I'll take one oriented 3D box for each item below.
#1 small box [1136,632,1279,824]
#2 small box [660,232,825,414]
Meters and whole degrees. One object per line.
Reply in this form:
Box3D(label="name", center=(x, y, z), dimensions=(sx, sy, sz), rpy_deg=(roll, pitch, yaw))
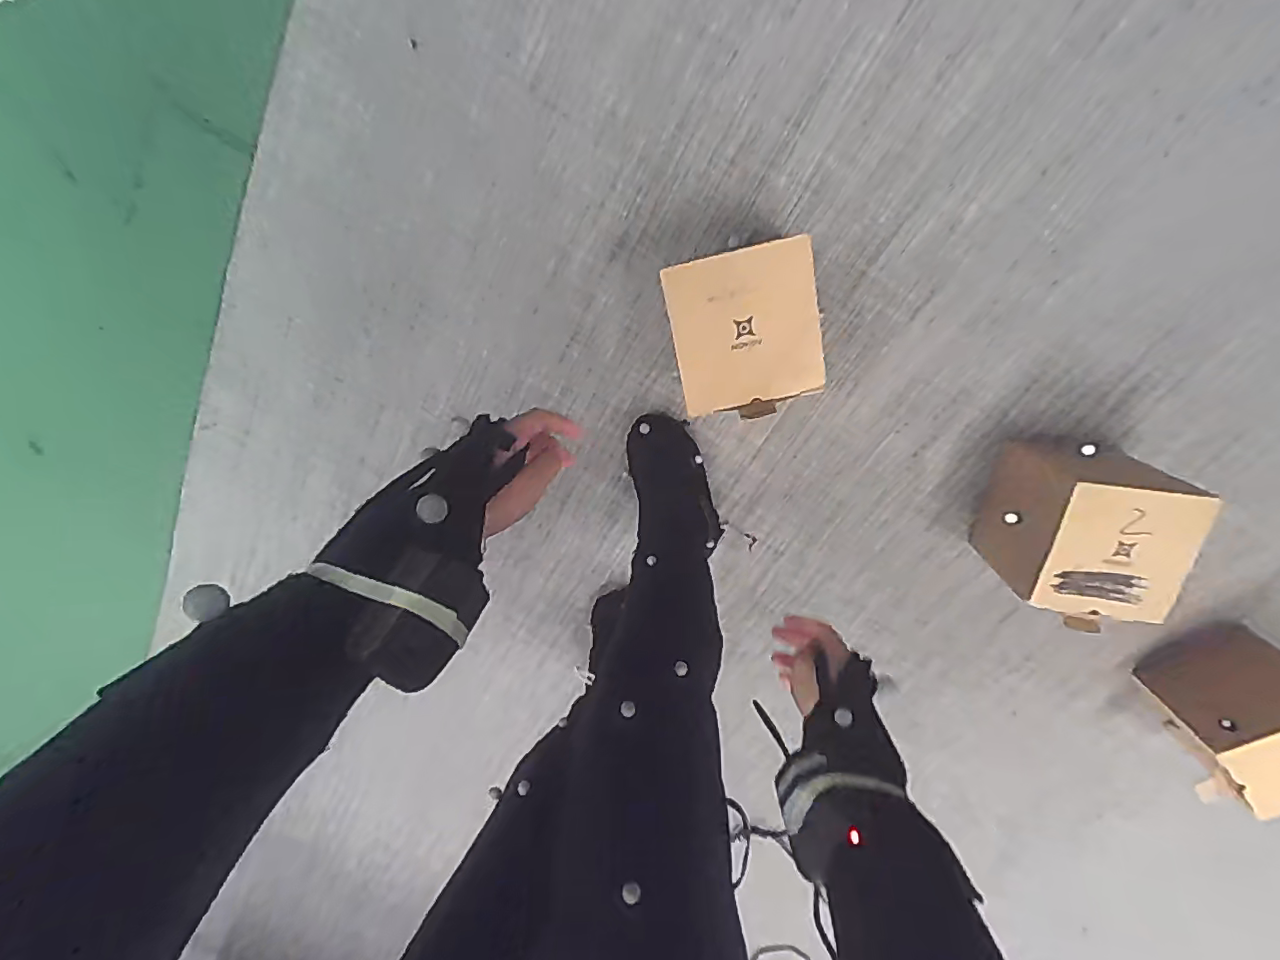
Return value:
Box3D(label="small box", center=(0.928, 0.365, 0.817), dimensions=(0.179, 0.176, 0.168), rpy_deg=(-36, 104, 19))
Box3D(label="small box", center=(0.127, -0.200, 0.685), dimensions=(0.168, 0.176, 0.179), rpy_deg=(-11, 109, 10))
